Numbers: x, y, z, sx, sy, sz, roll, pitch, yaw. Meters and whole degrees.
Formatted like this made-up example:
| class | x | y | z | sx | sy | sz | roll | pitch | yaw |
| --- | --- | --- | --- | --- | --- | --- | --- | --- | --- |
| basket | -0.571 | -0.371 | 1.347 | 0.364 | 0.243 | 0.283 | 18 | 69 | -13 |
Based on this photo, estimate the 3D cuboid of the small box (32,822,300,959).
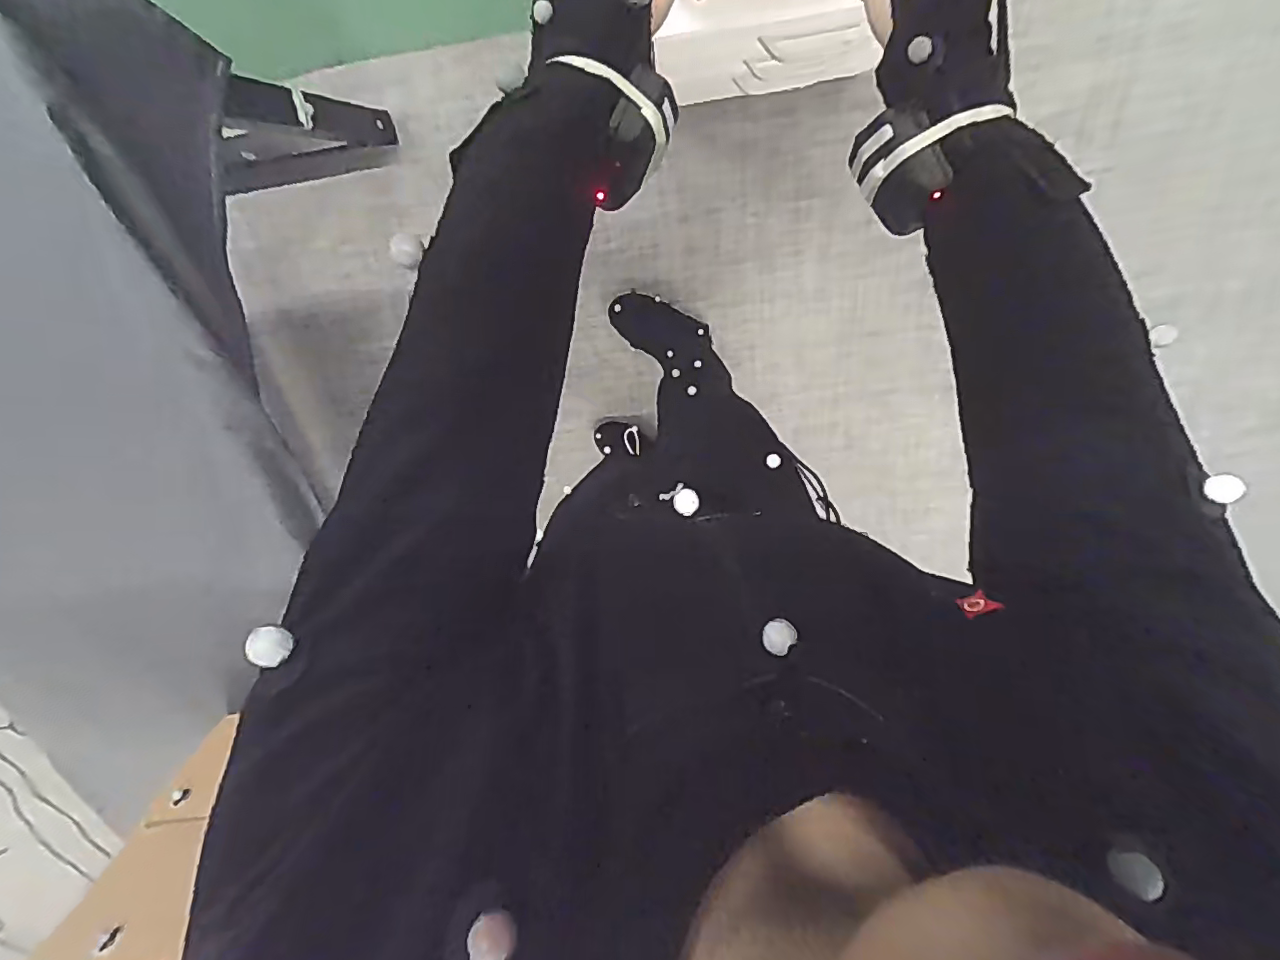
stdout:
| class | x | y | z | sx | sy | sz | roll | pitch | yaw |
| --- | --- | --- | --- | --- | --- | --- | --- | --- | --- |
| small box | -0.539 | 0.527 | 0.627 | 0.179 | 0.176 | 0.168 | -11 | 117 | 9 |
